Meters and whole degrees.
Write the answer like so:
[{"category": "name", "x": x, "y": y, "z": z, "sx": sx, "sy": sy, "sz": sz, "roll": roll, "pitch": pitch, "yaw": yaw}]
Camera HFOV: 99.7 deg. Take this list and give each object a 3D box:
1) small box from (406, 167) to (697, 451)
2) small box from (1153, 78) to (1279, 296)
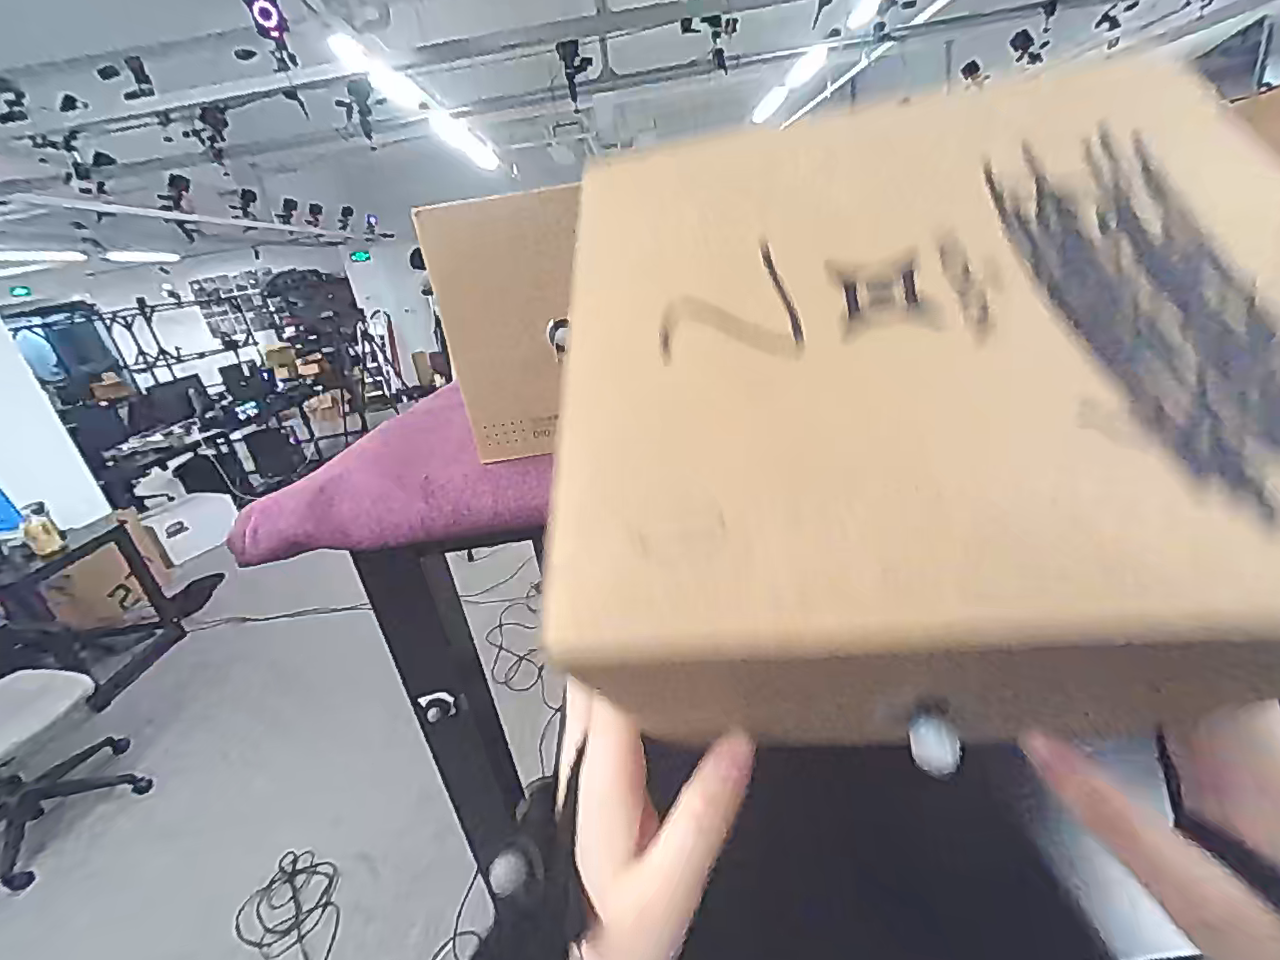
[{"category": "small box", "x": -0.054, "y": -0.129, "z": 0.428, "sx": 0.168, "sy": 0.176, "sz": 0.179, "roll": -9, "pitch": 23, "yaw": -1}, {"category": "small box", "x": 0.598, "y": -0.259, "z": 0.467, "sx": 0.179, "sy": 0.176, "sz": 0.168, "roll": -9, "pitch": 20, "yaw": 3}]
